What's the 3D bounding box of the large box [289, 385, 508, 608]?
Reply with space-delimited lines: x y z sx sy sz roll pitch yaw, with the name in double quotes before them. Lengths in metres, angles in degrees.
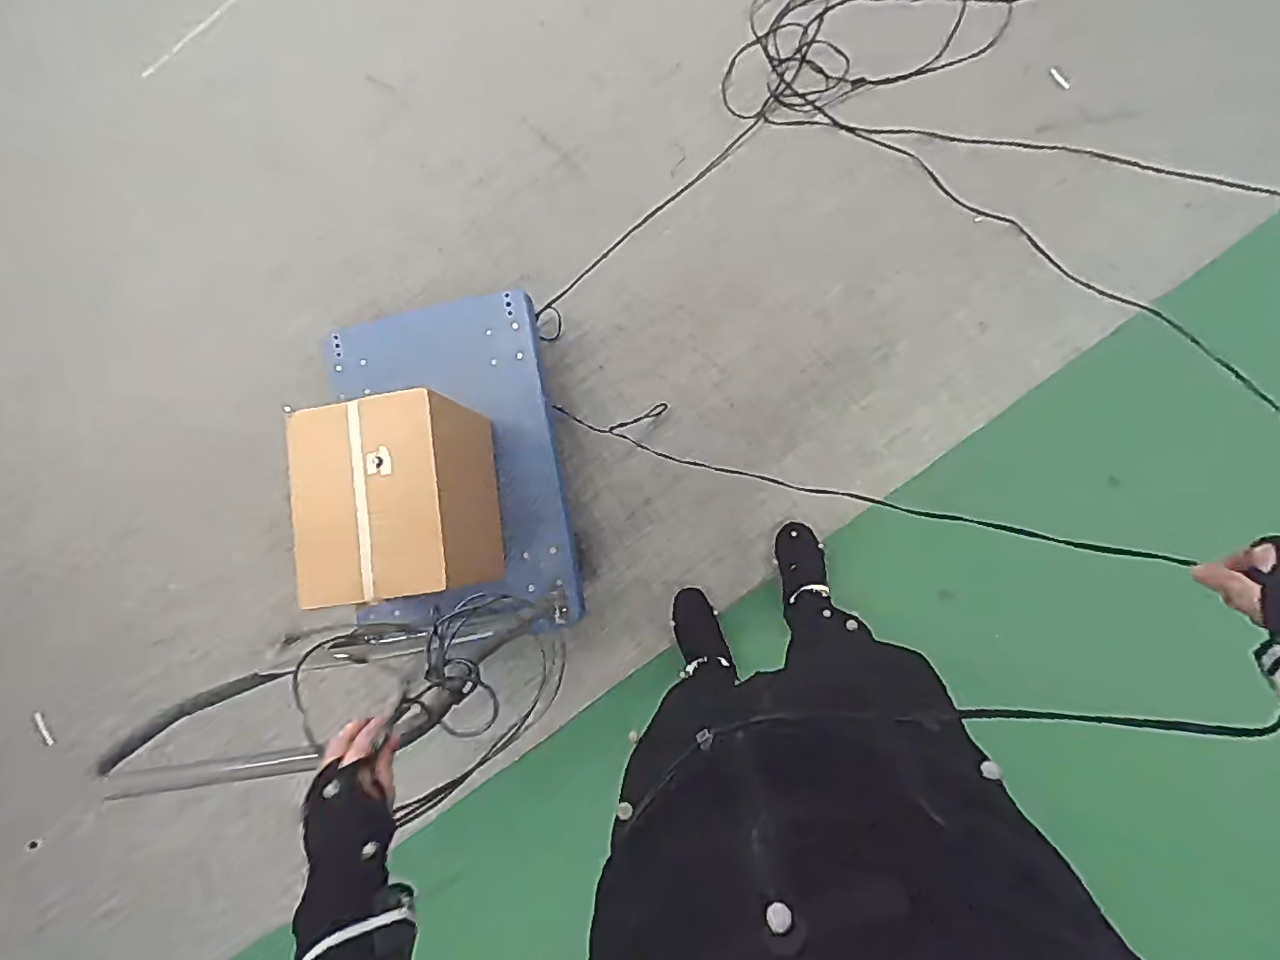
"large box" -0.514 0.047 1.200 0.320 0.320 0.408 -9 83 6
